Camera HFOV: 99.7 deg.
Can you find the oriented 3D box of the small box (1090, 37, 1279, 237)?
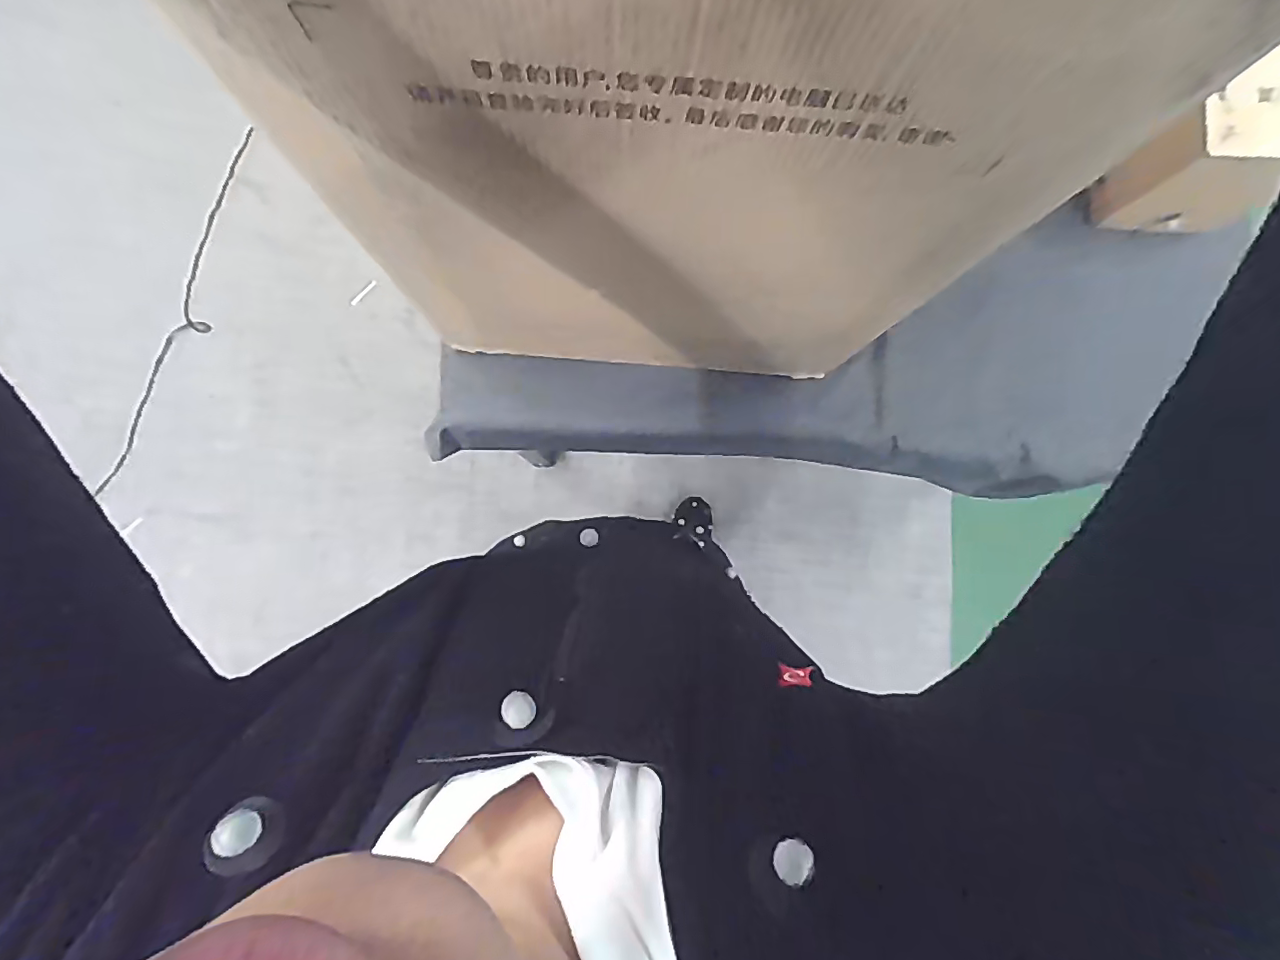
[{"bbox_3d":[0.785,-0.463,0.756,0.179,0.176,0.168,3,85,-3],"label":"small box"}]
